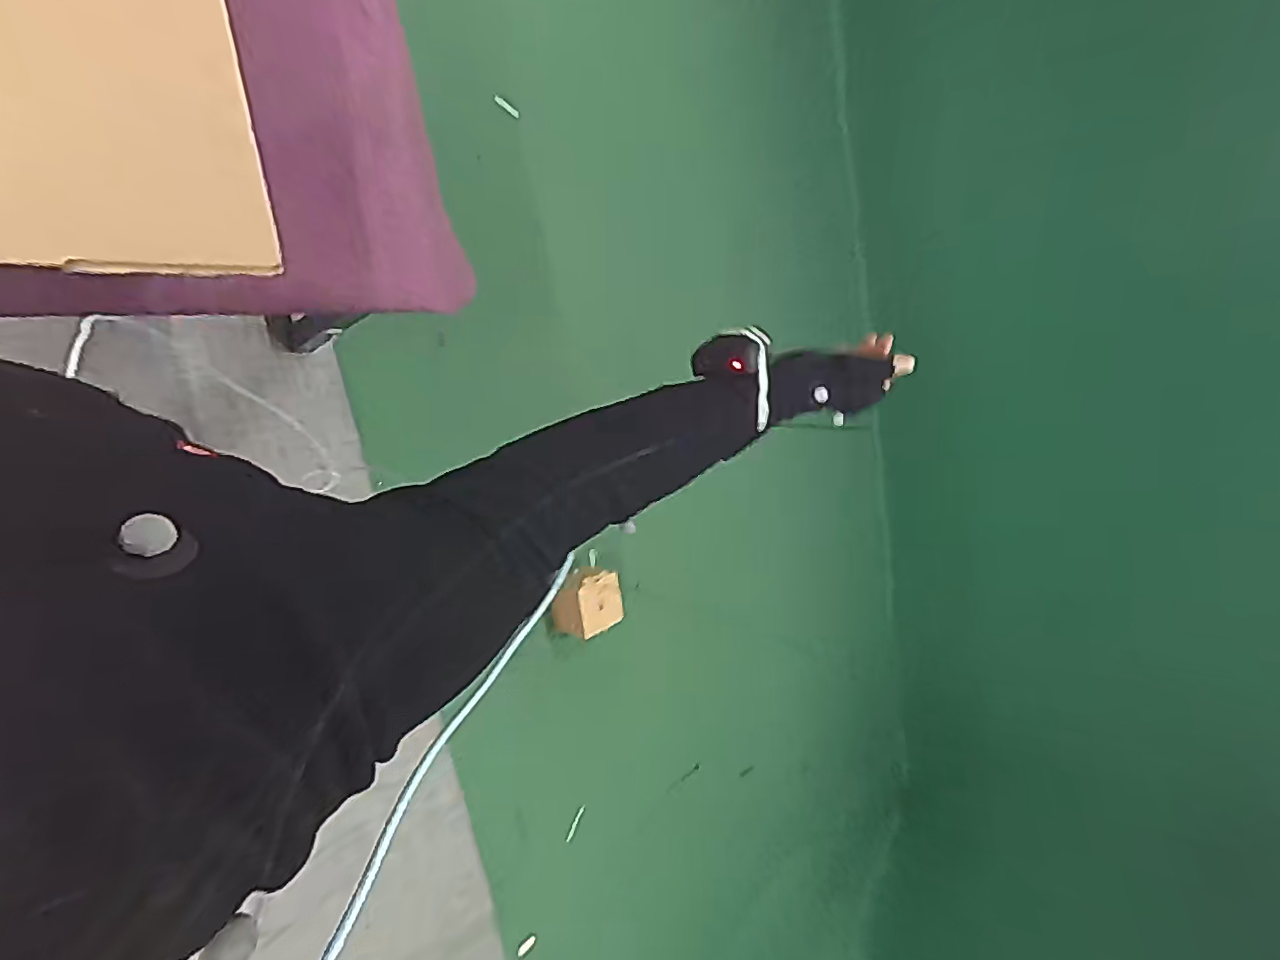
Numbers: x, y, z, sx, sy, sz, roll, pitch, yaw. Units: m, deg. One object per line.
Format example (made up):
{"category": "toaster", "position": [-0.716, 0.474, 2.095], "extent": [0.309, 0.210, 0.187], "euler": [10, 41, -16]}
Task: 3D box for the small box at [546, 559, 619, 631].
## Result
{"category": "small box", "position": [-0.197, 0.383, 1.831], "extent": [0.168, 0.176, 0.179], "euler": [-19, 104, -43]}
